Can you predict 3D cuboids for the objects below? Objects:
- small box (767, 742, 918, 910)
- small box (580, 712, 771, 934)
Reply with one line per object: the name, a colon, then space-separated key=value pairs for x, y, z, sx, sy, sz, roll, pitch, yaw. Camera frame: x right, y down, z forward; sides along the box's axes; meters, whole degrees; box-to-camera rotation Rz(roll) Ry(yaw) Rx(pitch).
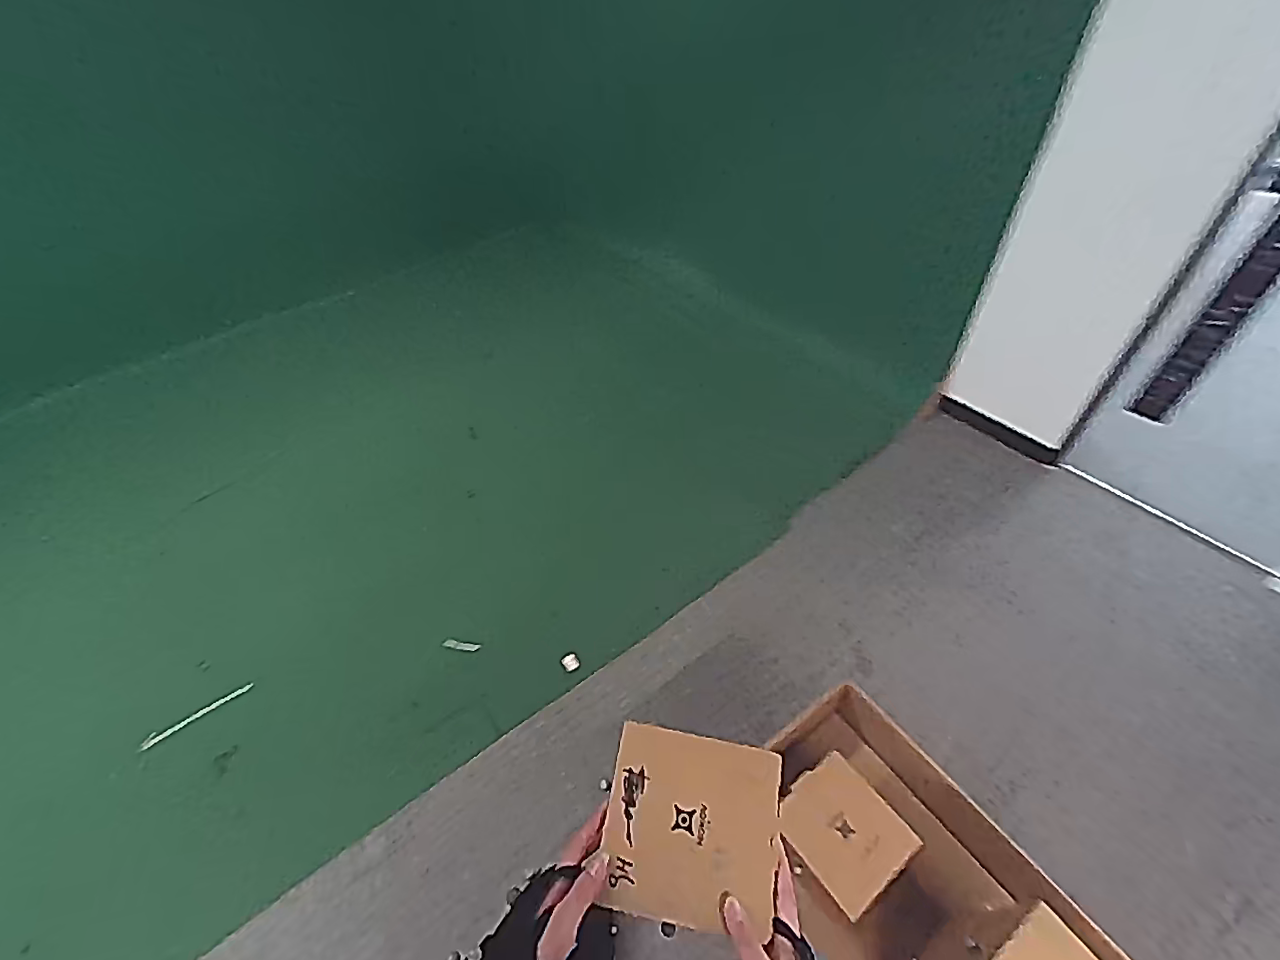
small box: x=0.327 y=0.596 z=0.928 sx=0.168 sy=0.176 sz=0.179 roll=-31 pitch=54 yaw=-19
small box: x=0.039 y=0.382 z=0.613 sx=0.179 sy=0.176 sz=0.168 roll=10 pitch=55 yaw=4
